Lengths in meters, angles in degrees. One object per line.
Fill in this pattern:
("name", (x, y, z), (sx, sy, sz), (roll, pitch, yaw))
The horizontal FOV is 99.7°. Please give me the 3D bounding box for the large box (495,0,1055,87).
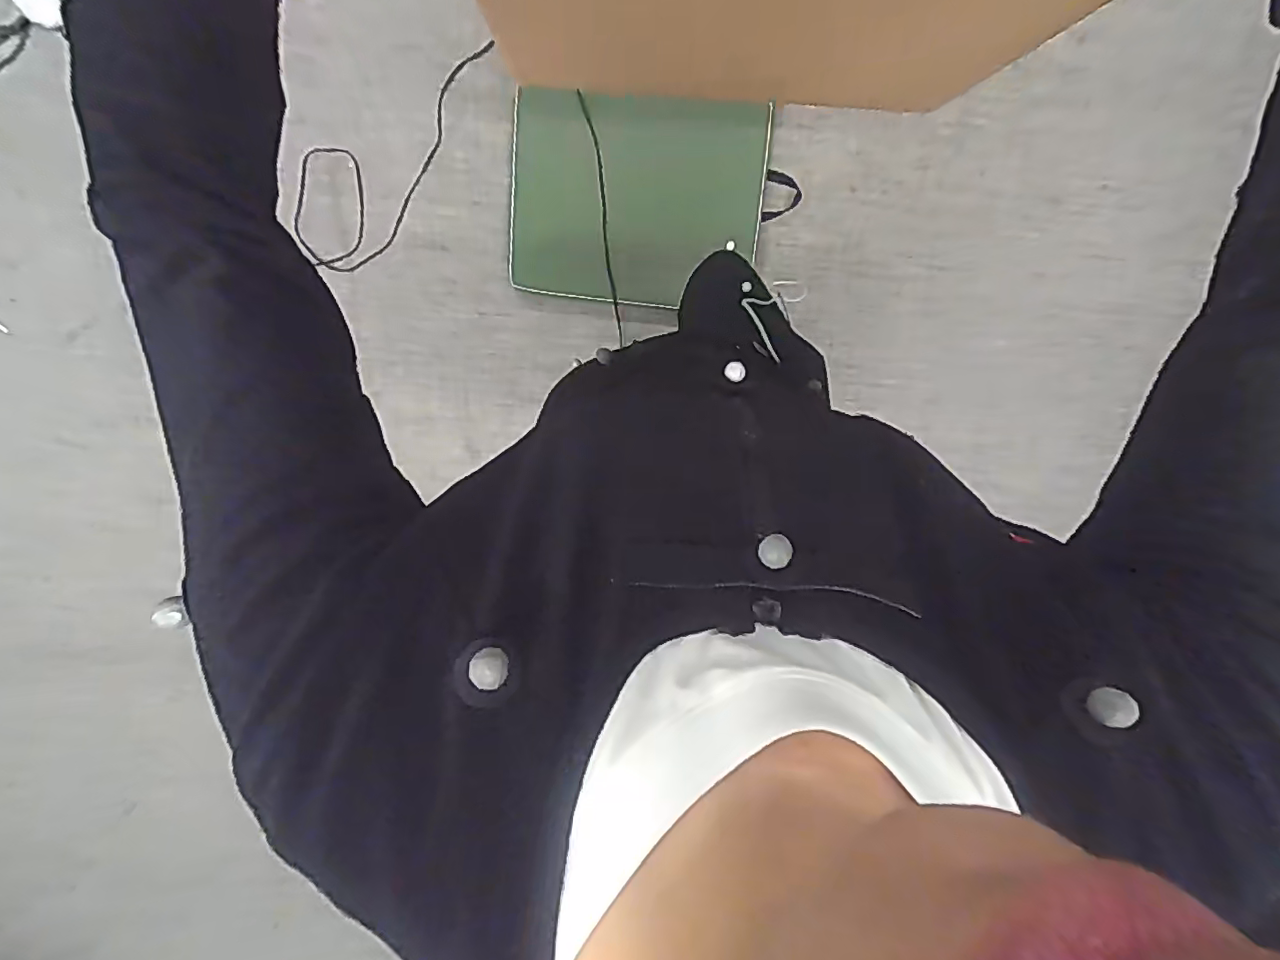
("large box", (0.095, -0.474, 0.320), (0.408, 0.320, 0.320), (0, 109, -4))
